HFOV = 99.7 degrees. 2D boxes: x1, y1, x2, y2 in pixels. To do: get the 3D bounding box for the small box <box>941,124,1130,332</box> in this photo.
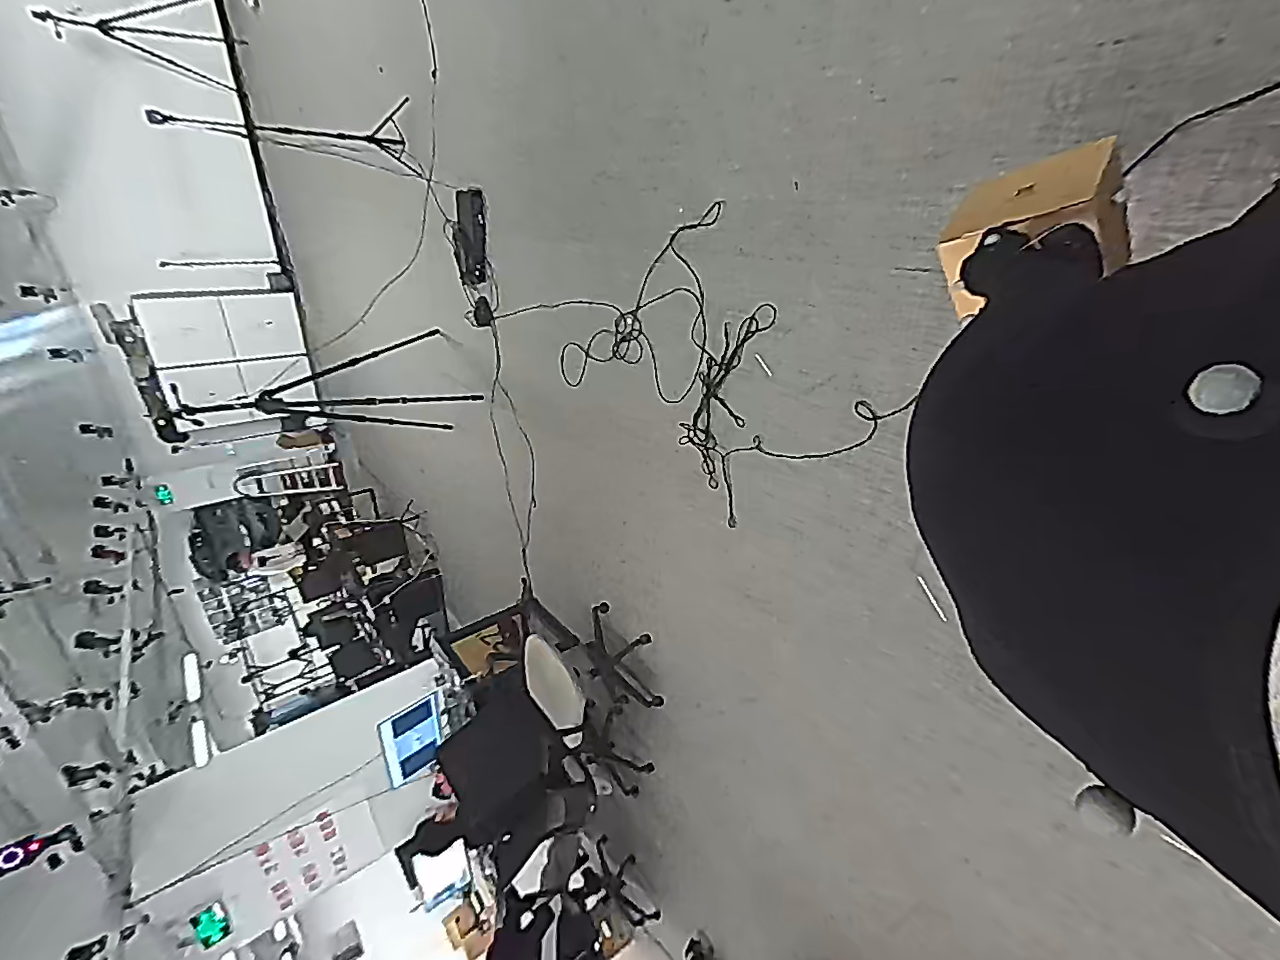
[{"bbox_3d":[0.543,-0.329,0.736,0.168,0.179,0.176,3,139,50],"label":"small box"}]
